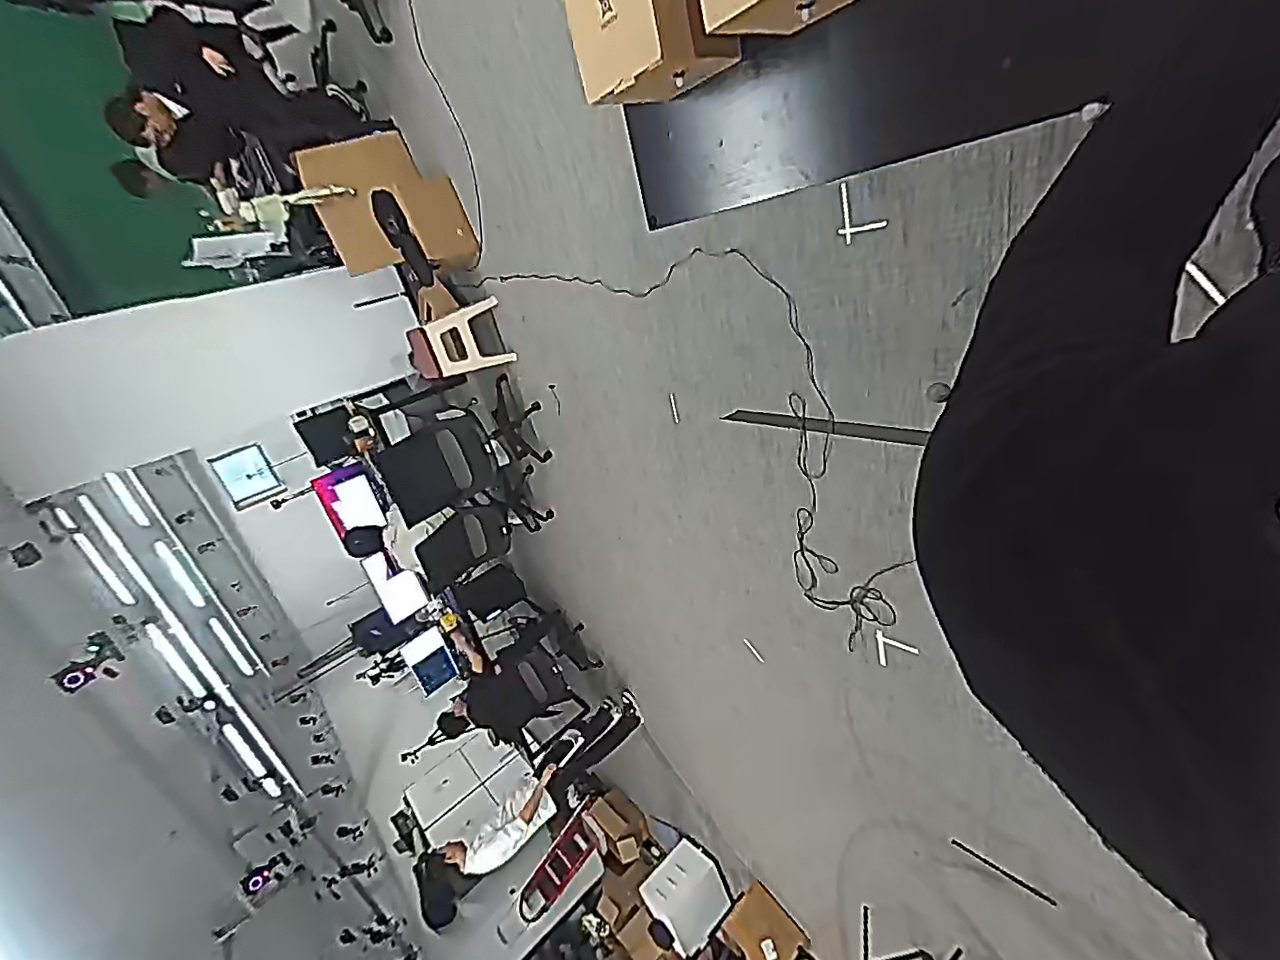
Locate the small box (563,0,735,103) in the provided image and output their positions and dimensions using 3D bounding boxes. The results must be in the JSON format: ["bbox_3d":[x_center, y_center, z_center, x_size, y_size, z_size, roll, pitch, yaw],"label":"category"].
[{"bbox_3d":[0.013,-0.658,0.751,0.168,0.176,0.179,13,125,48],"label":"small box"}]

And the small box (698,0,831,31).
[{"bbox_3d":[0.165,-0.615,0.570,0.168,0.176,0.179,15,127,48],"label":"small box"}]
